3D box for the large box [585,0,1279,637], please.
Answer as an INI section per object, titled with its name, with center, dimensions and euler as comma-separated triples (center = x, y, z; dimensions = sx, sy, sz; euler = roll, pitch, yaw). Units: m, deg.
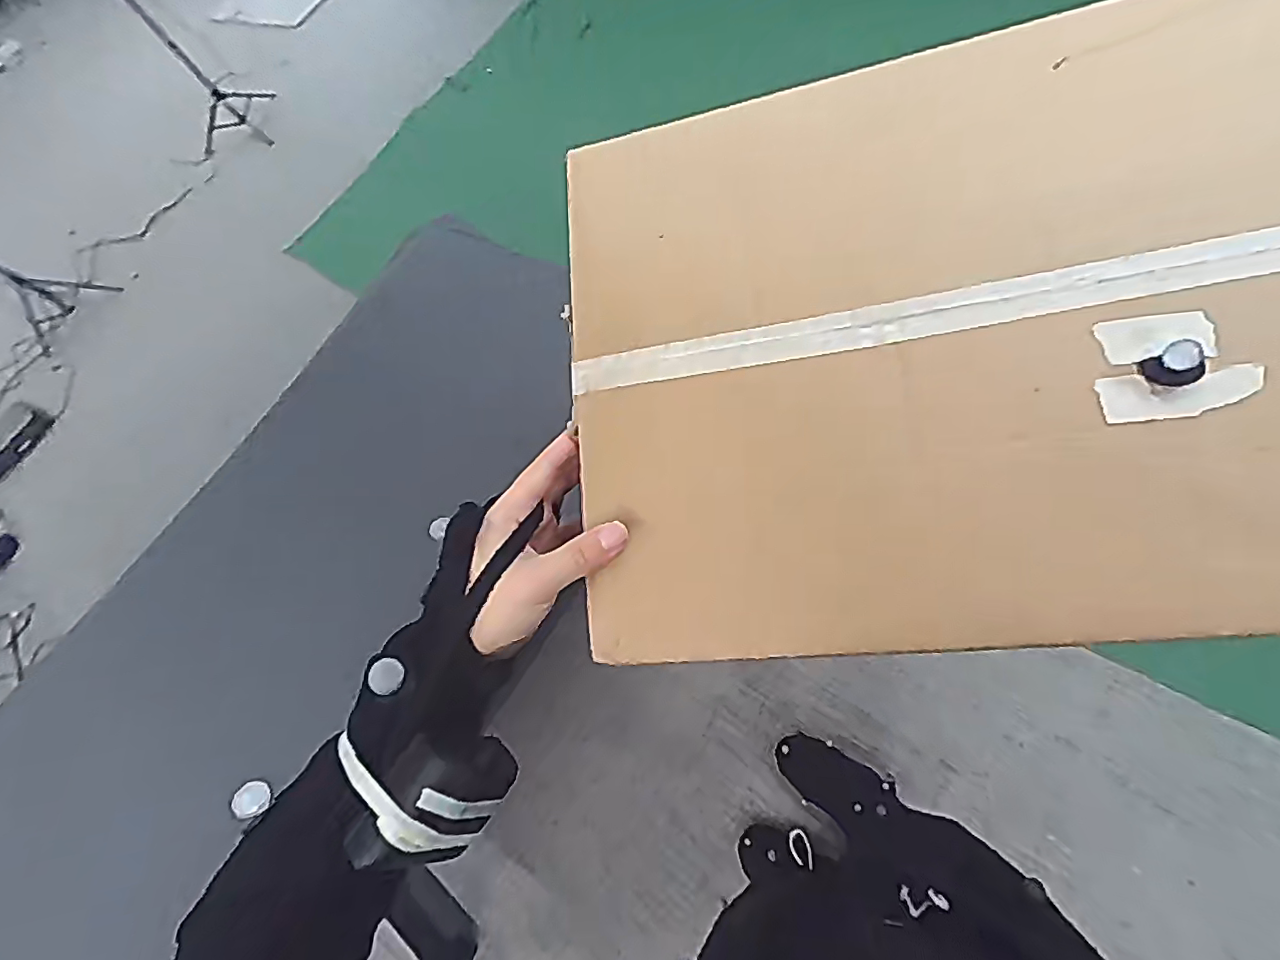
[large box]
center = 0.199, -0.058, 0.418
dimensions = 0.408, 0.320, 0.320
euler = -7, 76, 13
